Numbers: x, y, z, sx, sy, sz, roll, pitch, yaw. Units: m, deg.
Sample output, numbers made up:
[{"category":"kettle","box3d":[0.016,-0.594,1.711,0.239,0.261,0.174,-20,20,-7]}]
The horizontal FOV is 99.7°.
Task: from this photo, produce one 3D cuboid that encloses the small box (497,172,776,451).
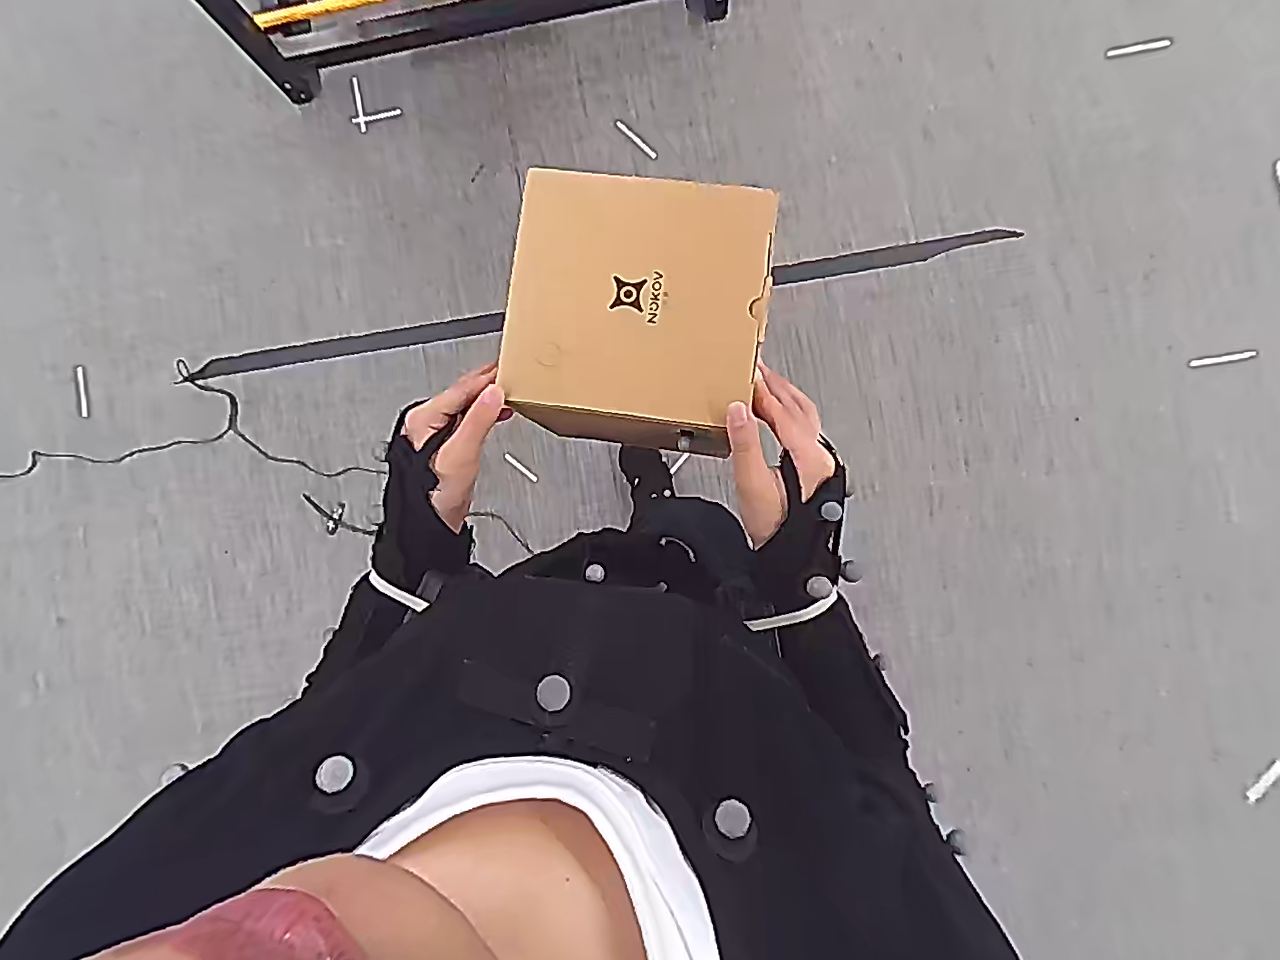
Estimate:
[{"category":"small box","box3d":[0.003,-0.122,0.451,0.179,0.176,0.168,8,87,4]}]
